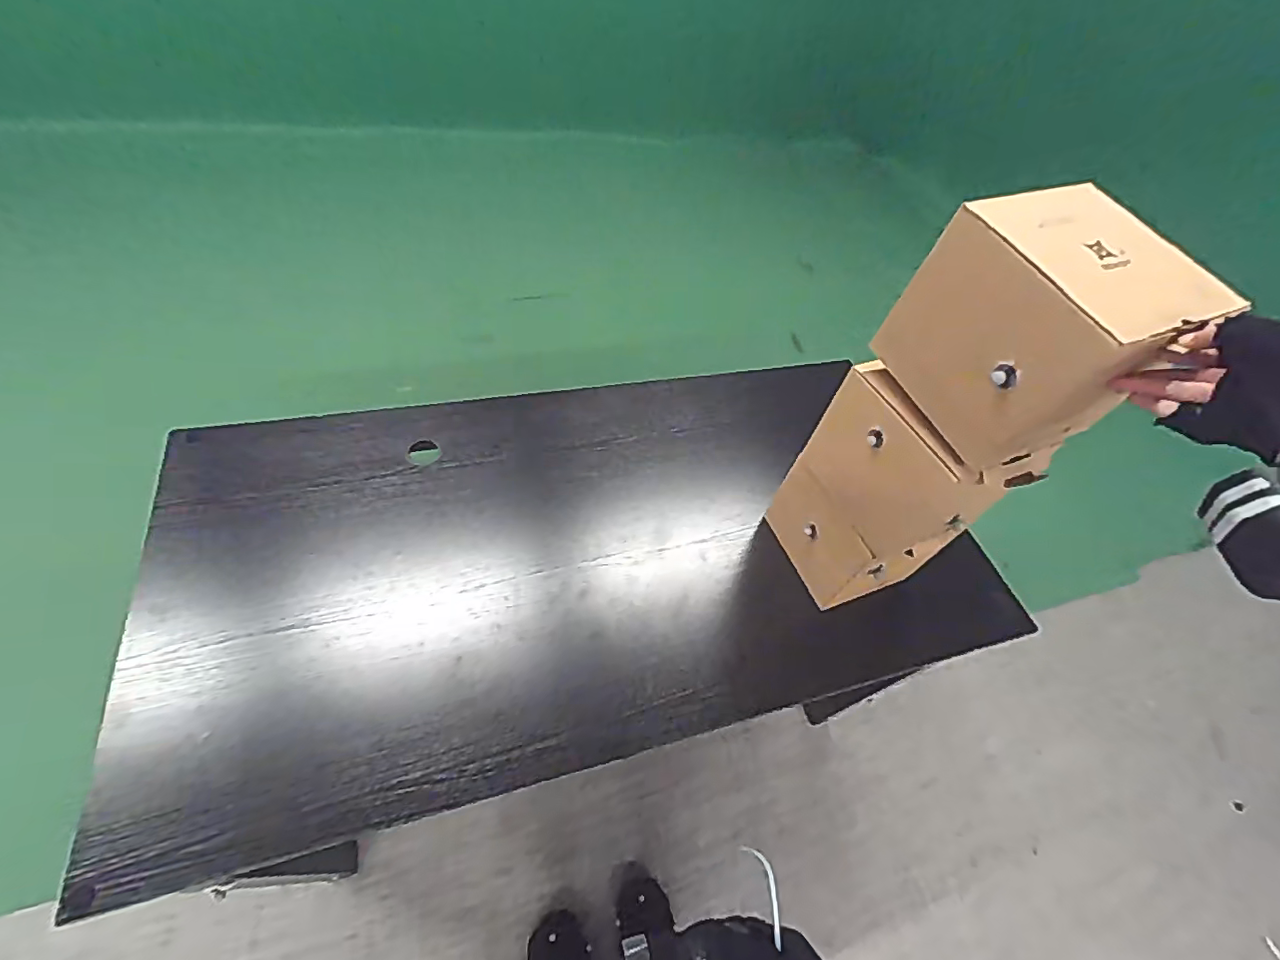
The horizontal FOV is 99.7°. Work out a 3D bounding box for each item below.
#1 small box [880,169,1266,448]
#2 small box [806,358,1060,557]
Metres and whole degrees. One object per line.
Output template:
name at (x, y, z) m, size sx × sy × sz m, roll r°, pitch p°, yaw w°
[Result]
small box at (0.366, -0.148, 0.497) m, size 0.168 × 0.176 × 0.179 m, roll -17°, pitch 62°, yaw -18°
small box at (0.336, -0.035, 0.661) m, size 0.168 × 0.176 × 0.179 m, roll -17°, pitch 59°, yaw -20°
